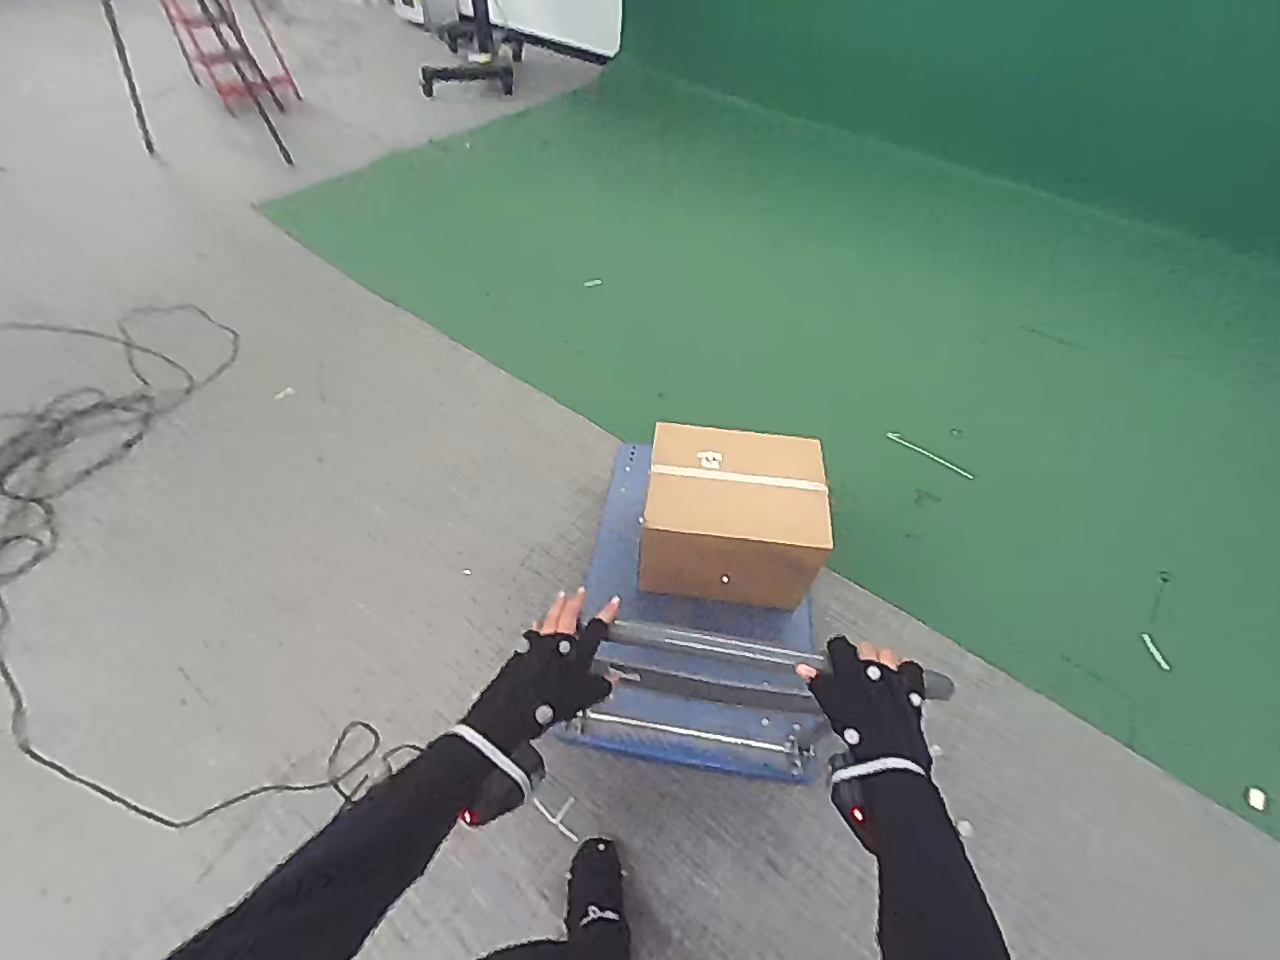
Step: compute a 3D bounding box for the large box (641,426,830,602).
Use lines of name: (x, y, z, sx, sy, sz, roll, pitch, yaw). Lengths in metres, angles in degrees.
large box: (0.217, 0.092, 1.358, 0.408, 0.320, 0.320, 5, 52, 2)
